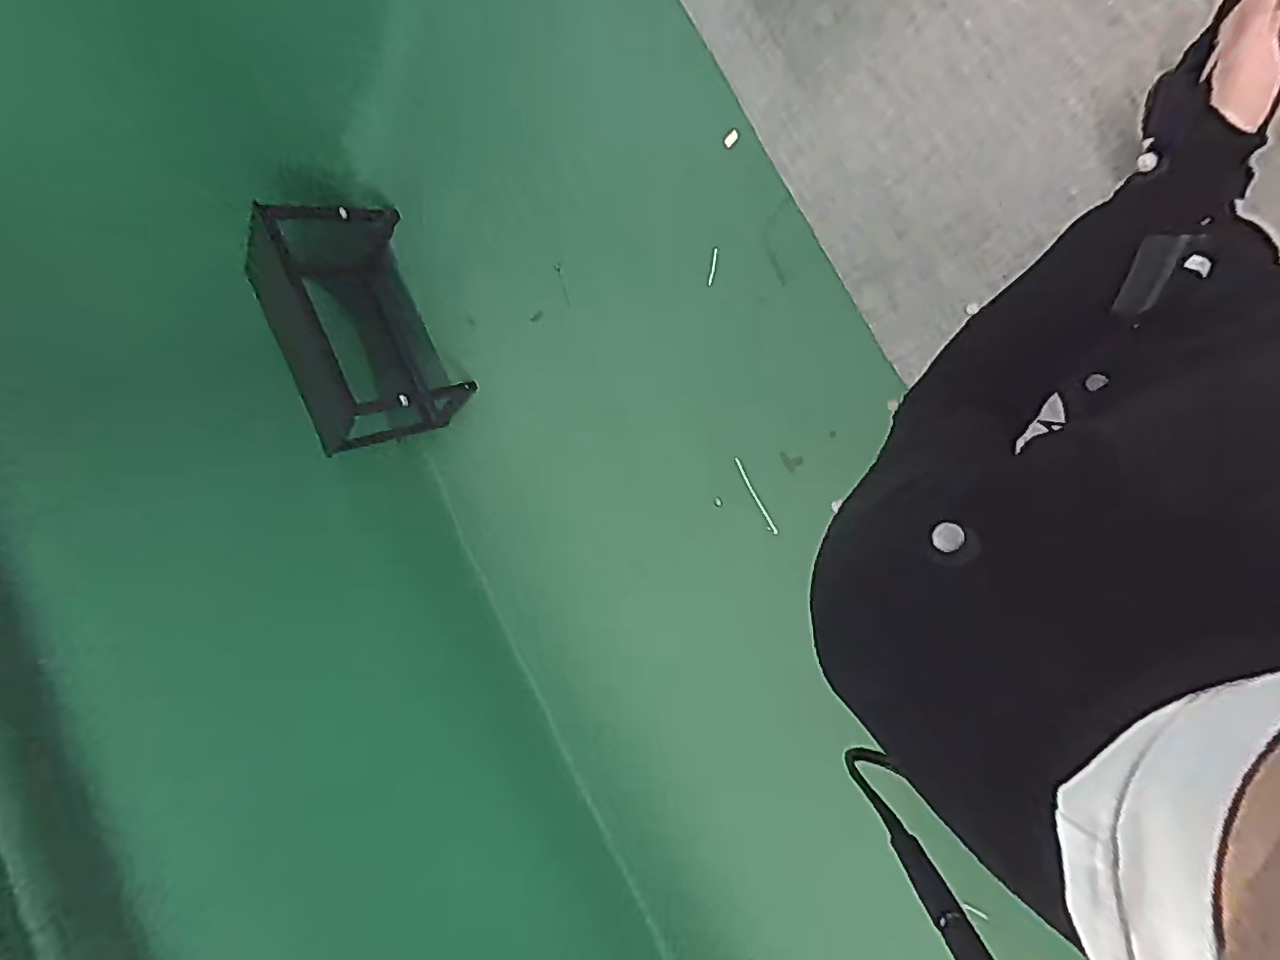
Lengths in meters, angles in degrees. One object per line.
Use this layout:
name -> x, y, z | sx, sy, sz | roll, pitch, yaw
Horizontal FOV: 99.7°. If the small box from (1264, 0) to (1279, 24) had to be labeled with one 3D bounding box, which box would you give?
small box -> 0.476, -0.379, 0.285 | 0.168, 0.176, 0.179 | 14, 118, 42
